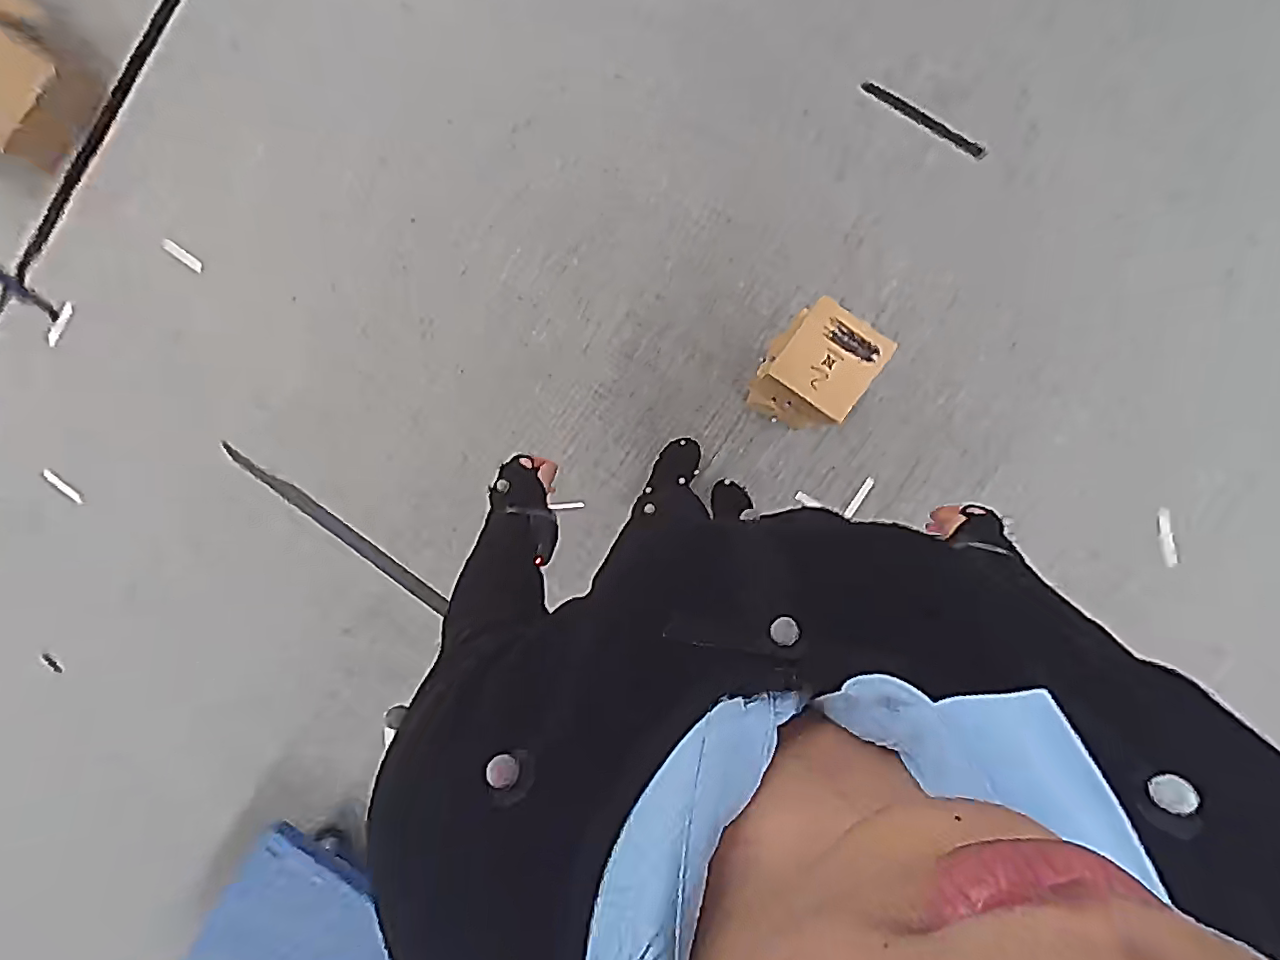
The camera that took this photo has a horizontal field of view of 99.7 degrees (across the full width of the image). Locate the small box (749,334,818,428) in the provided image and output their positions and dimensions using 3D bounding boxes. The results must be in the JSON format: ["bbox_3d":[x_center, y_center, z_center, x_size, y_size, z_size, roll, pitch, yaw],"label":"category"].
[{"bbox_3d":[0.391,-0.246,1.382,0.168,0.176,0.179,23,94,4],"label":"small box"}]

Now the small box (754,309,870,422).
[{"bbox_3d":[0.375,-0.249,1.220,0.168,0.176,0.179,36,95,3],"label":"small box"}]
